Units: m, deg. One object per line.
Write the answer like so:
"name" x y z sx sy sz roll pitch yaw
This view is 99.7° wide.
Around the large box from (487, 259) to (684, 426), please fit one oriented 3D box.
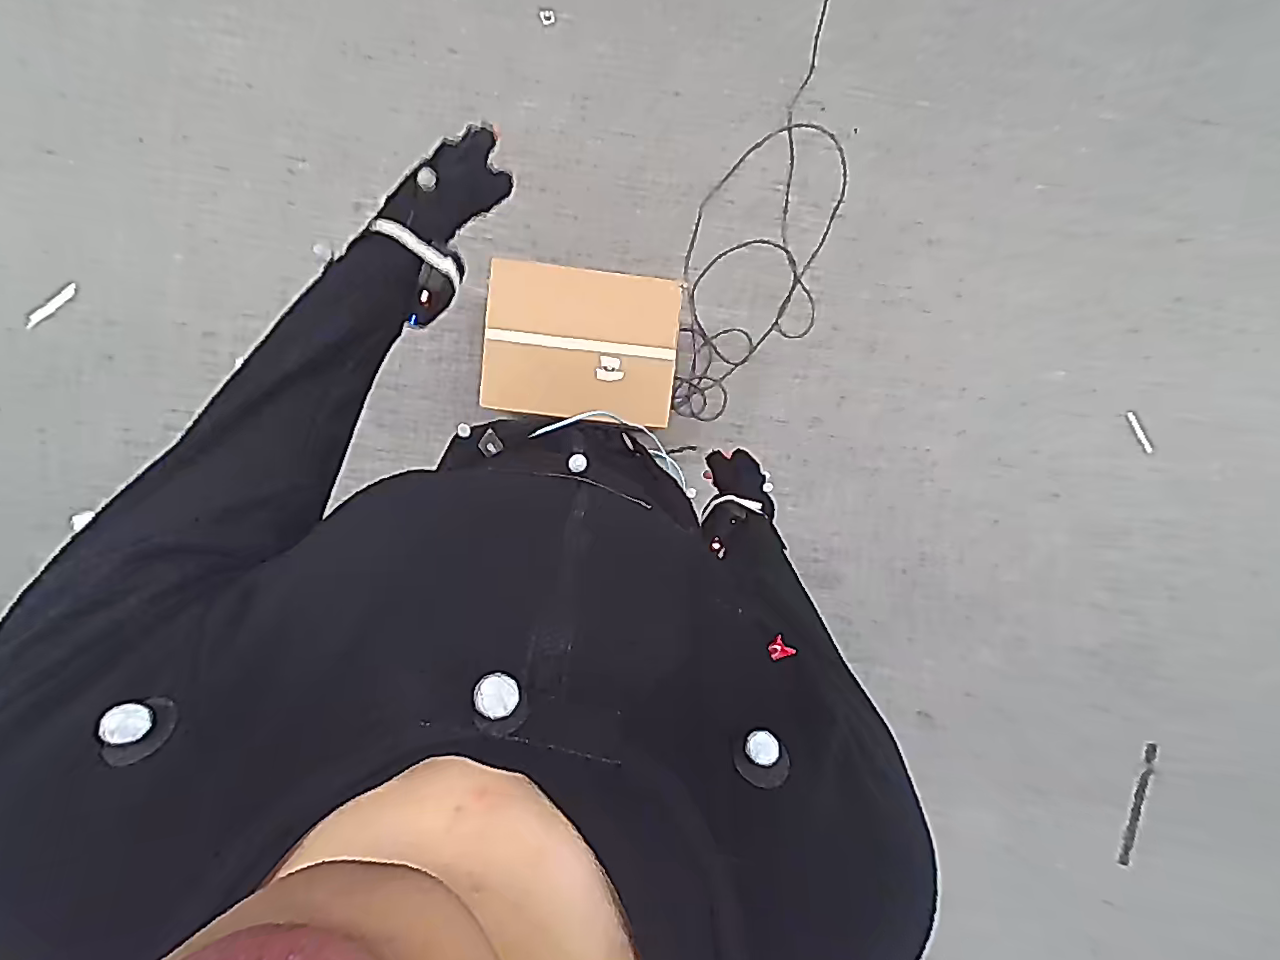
"large box" -0.127 -0.305 1.300 0.408 0.320 0.320 6 95 -4
